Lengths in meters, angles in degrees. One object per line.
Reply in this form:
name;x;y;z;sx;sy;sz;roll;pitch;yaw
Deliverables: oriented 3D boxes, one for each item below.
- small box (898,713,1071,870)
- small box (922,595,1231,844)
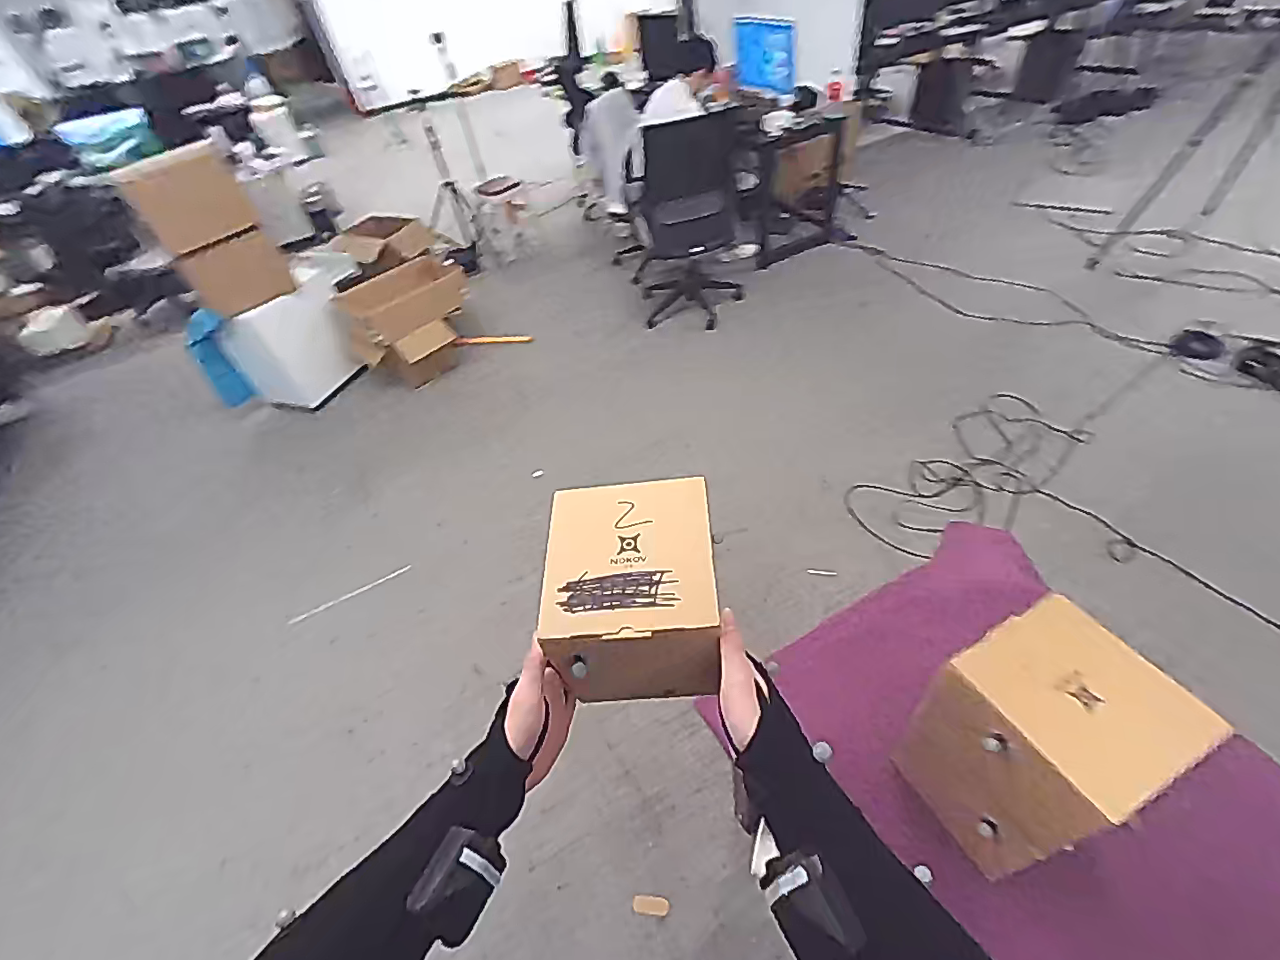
small box;0.478;0.378;0.712;0.168;0.176;0.179;-24;47;-12
small box;0.452;0.268;0.596;0.168;0.176;0.179;-25;46;-12
